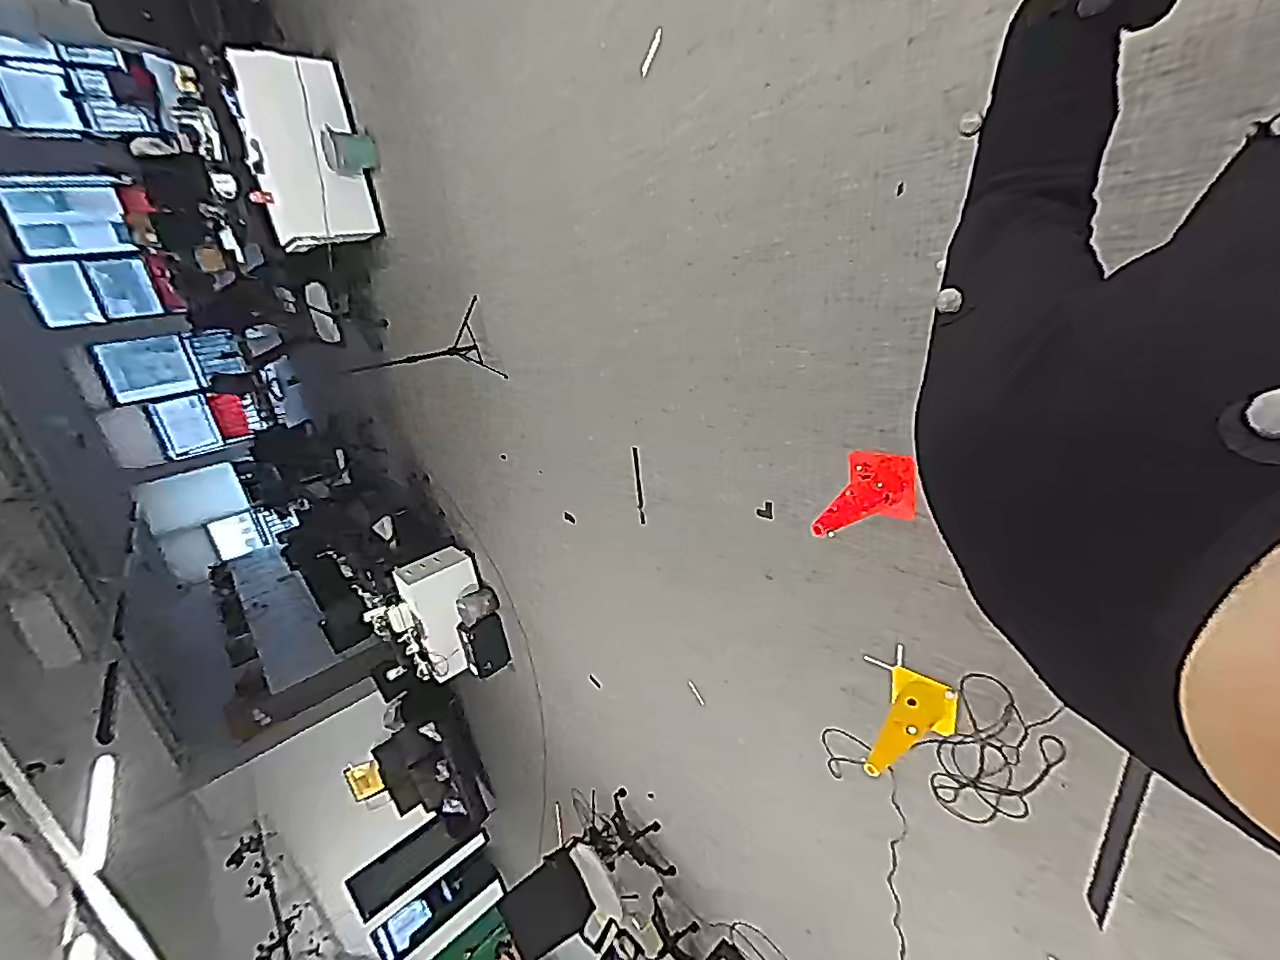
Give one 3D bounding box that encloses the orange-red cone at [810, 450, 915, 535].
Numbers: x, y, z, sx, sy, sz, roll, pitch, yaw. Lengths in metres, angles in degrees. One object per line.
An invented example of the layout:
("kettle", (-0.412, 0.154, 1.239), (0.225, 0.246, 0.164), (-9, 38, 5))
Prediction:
("orange-red cone", (0.596, 0.071, 1.523), (0.198, 0.360, 0.199), (14, 121, 49))
